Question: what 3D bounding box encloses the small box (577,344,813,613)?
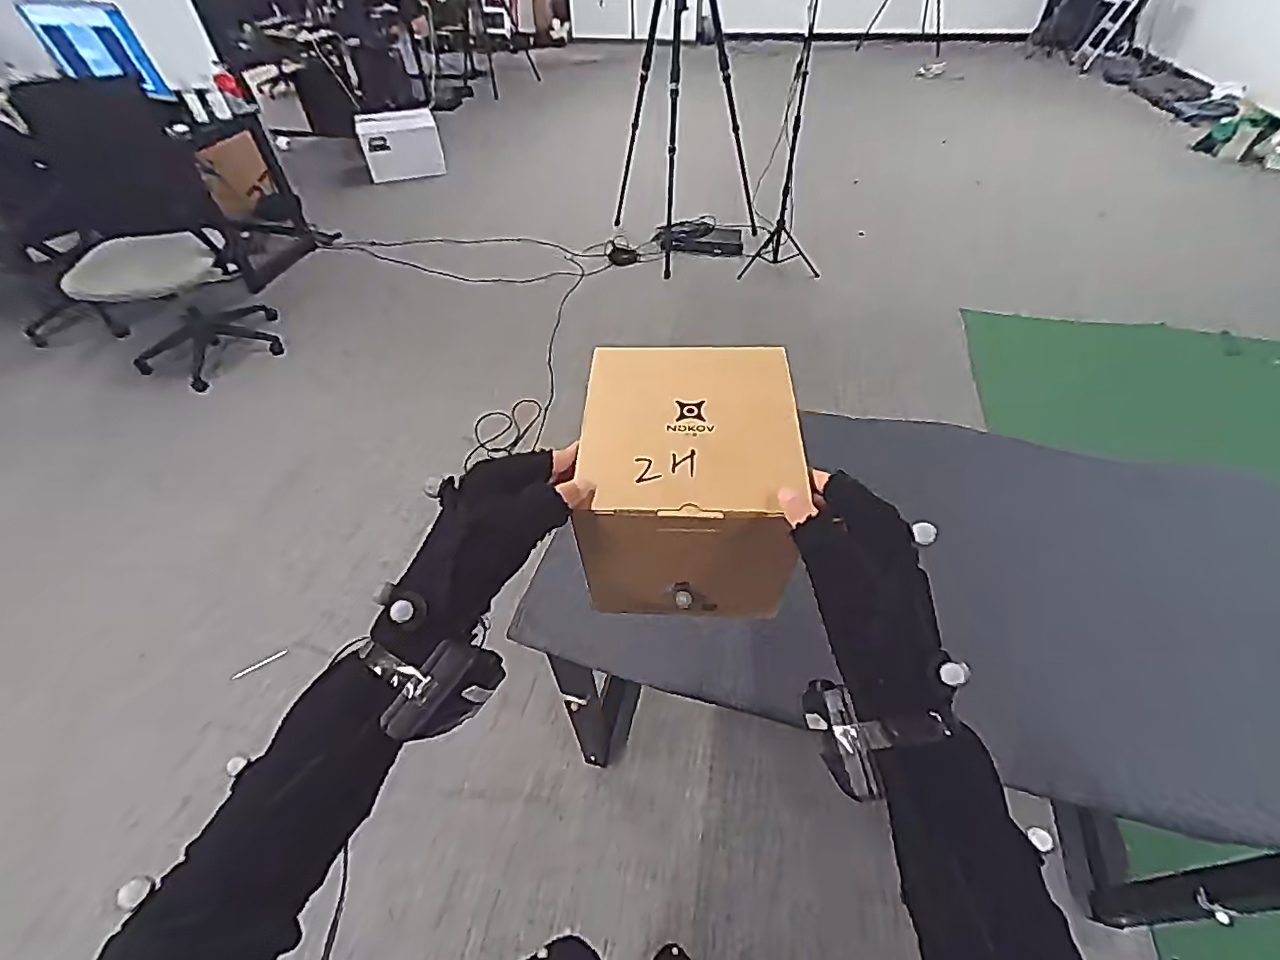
[{"bbox_3d":[0.044,-0.001,0.484,0.168,0.176,0.179,1,52,4],"label":"small box"}]
